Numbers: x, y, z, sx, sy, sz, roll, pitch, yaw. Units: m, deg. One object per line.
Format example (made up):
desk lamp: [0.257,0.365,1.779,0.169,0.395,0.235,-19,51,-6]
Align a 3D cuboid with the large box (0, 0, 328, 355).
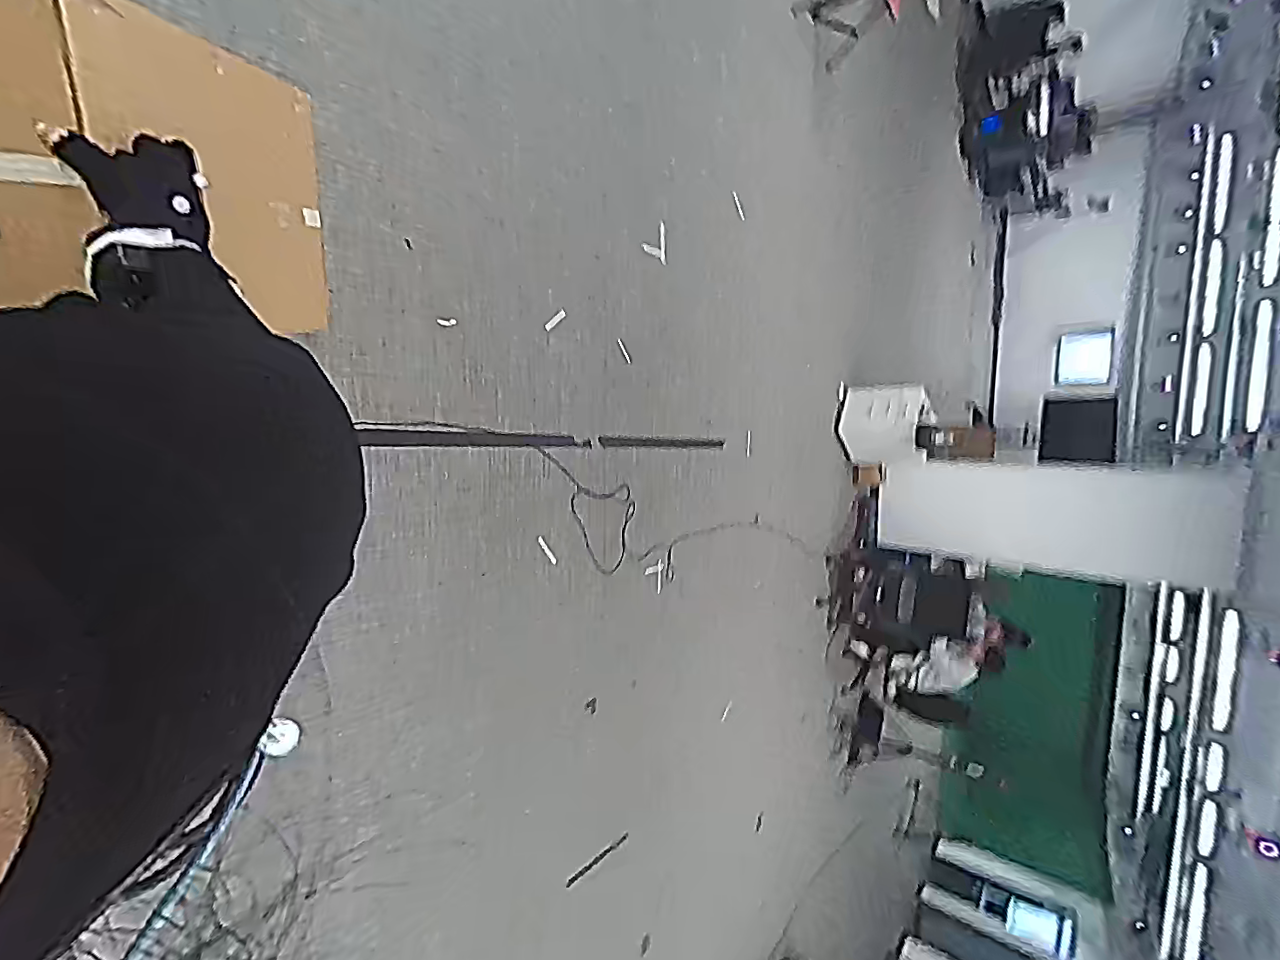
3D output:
large box: [-0.668,-0.341,0.652,0.320,0.408,0.320,-77,174,-70]
